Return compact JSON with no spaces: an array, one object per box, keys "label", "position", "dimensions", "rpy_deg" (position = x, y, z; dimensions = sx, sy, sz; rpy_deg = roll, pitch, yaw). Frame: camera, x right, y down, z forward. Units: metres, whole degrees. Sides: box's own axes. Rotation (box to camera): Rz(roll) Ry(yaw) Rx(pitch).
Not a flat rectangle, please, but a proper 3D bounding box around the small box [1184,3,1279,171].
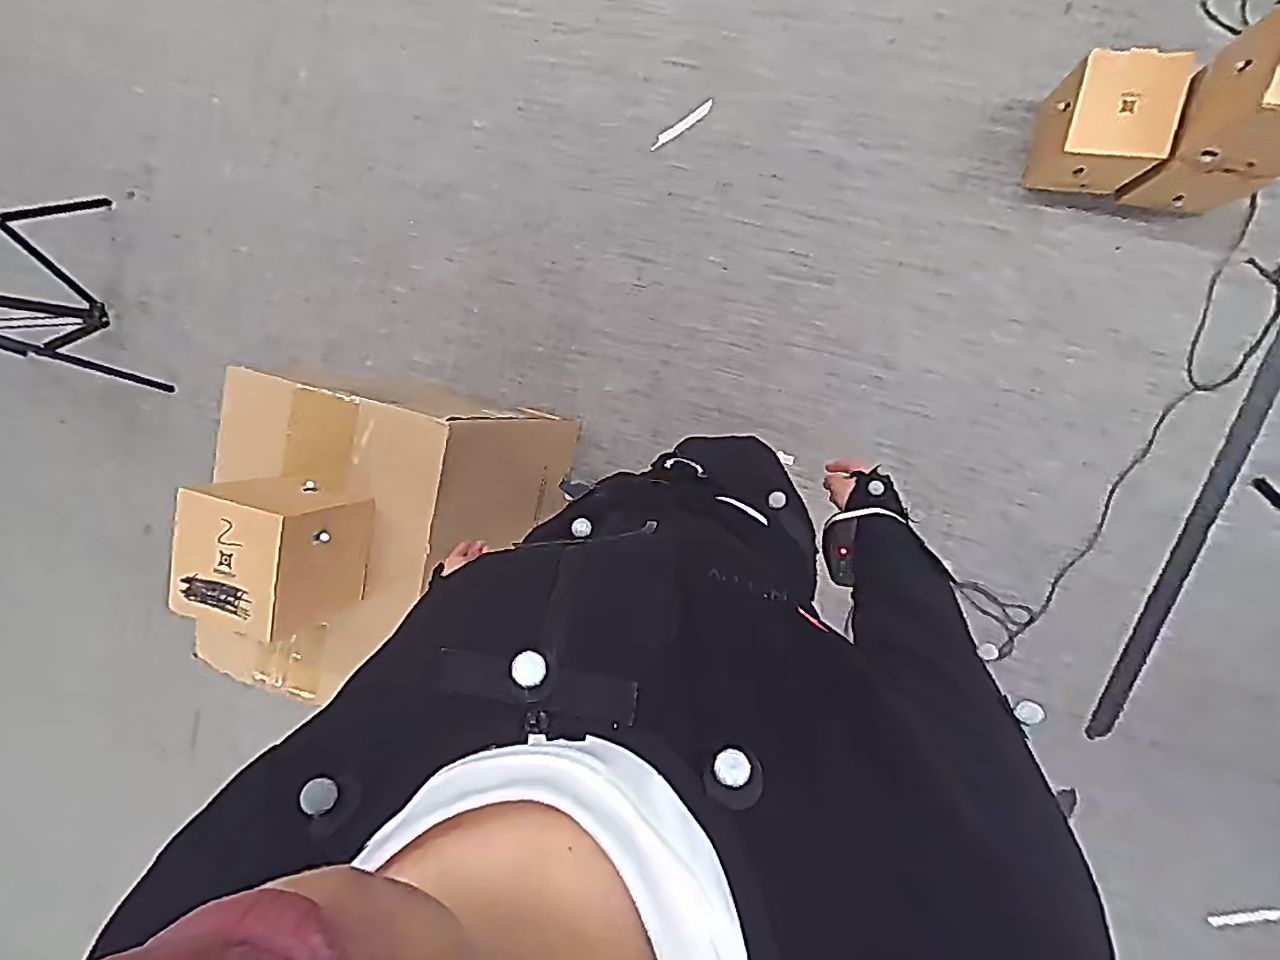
[{"label":"small box","position":[1.014,-0.611,0.835],"dimensions":[0.168,0.176,0.179],"rpy_deg":[17,99,9]}]
